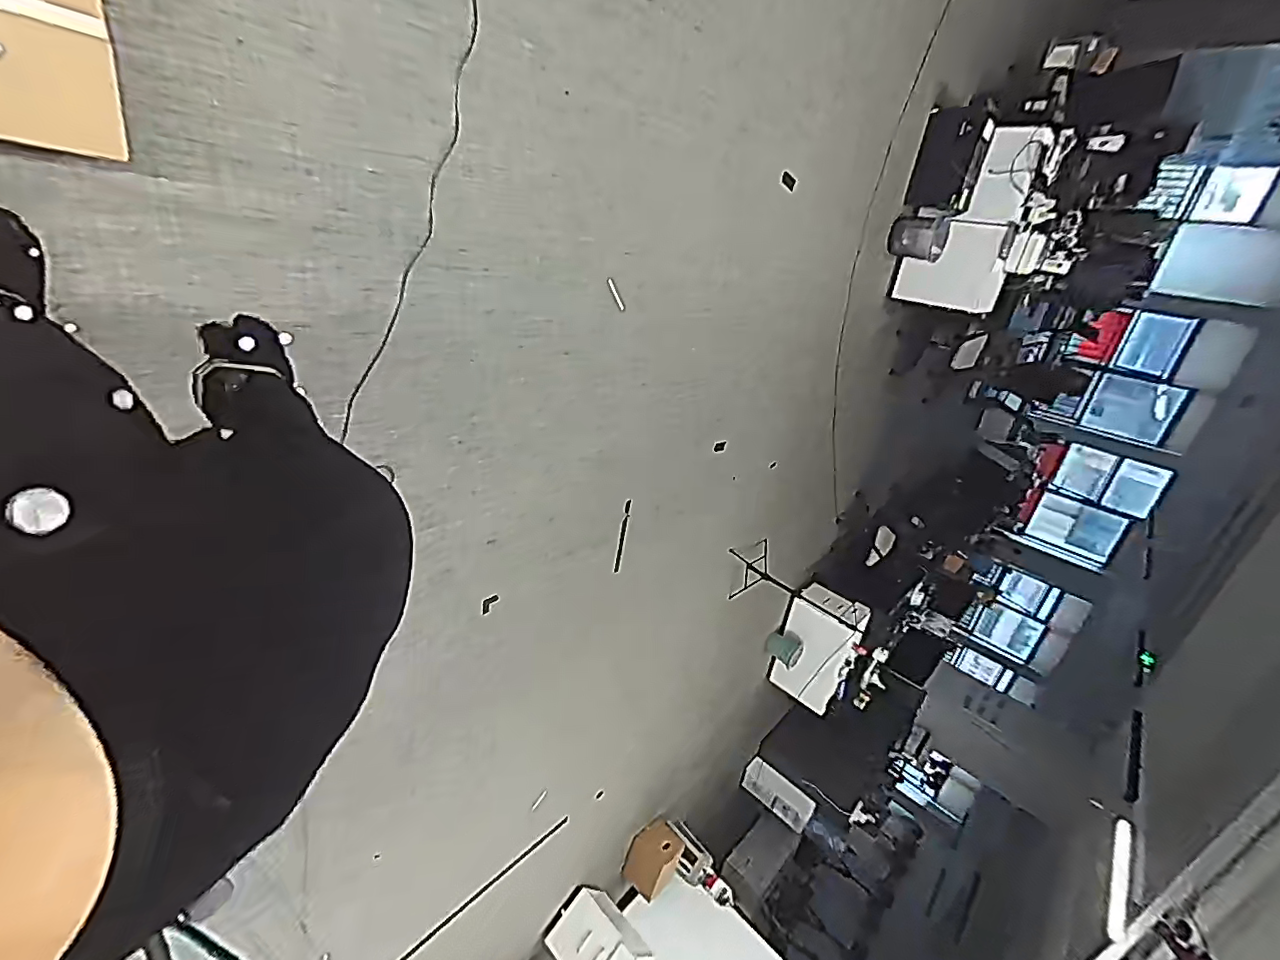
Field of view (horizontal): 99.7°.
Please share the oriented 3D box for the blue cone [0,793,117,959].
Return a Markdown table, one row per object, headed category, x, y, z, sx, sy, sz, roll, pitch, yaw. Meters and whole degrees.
| category | x | y | z | sx | sy | sz | roll | pitch | yaw |
| --- | --- | --- | --- | --- | --- | --- | --- | --- | --- |
| blue cone | -1.318 | 0.935 | 1.238 | 0.193 | 0.380 | 0.192 | 14 | 102 | -52 |
